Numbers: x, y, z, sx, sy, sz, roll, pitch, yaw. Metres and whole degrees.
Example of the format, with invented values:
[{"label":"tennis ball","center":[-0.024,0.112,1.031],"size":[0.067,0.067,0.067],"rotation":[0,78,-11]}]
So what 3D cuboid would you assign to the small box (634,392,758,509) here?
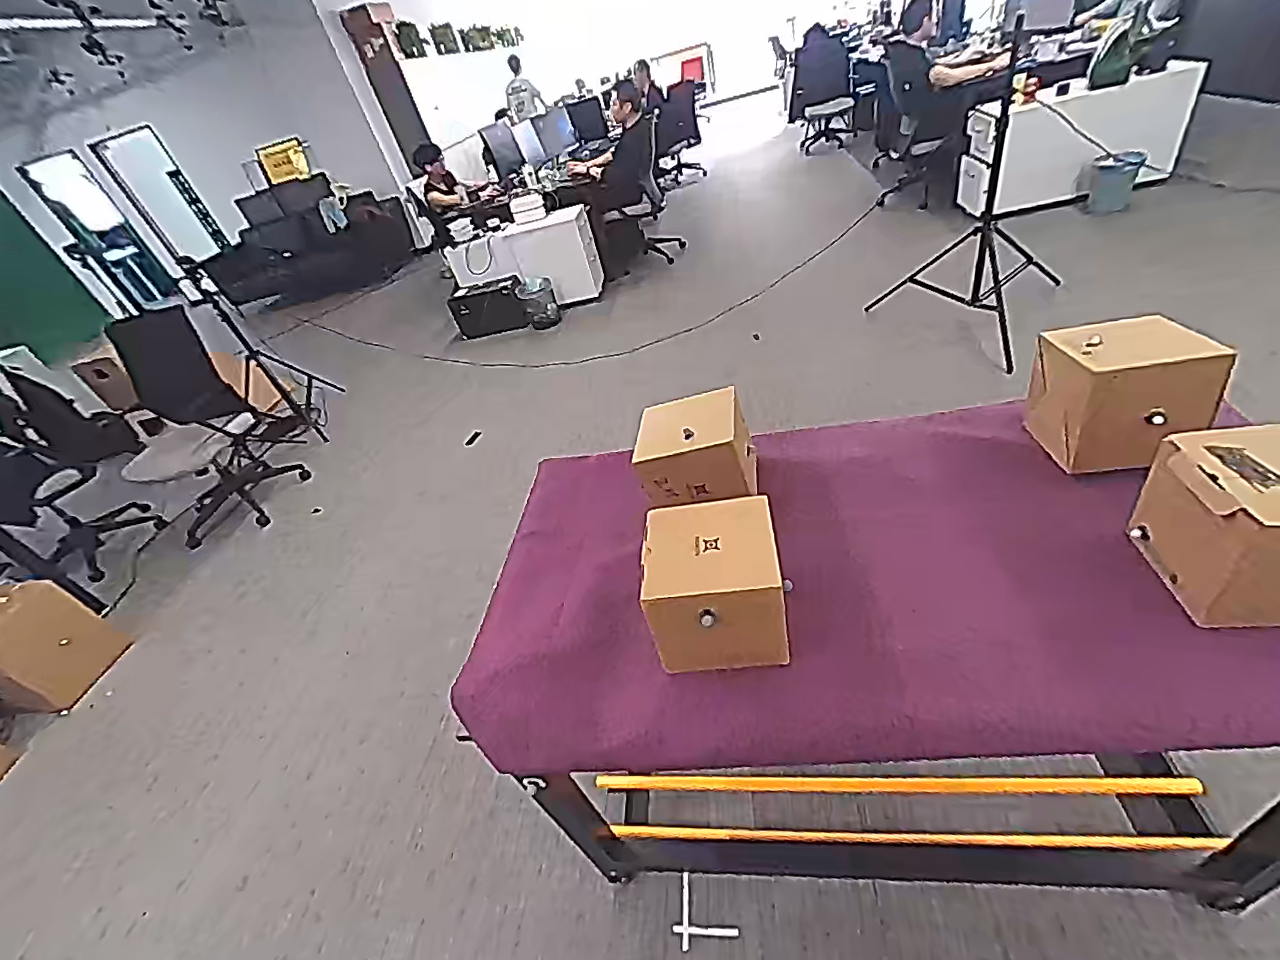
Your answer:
[{"label":"small box","center":[0.106,-0.037,0.966],"size":[0.179,0.168,0.176],"rotation":[-12,36,20]}]

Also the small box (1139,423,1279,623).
[{"label":"small box","center":[0.734,0.051,0.629],"size":[0.179,0.176,0.168],"rotation":[-5,38,15]}]

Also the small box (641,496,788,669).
[{"label":"small box","center":[0.109,0.147,0.760],"size":[0.179,0.176,0.168],"rotation":[-9,38,12]}]
